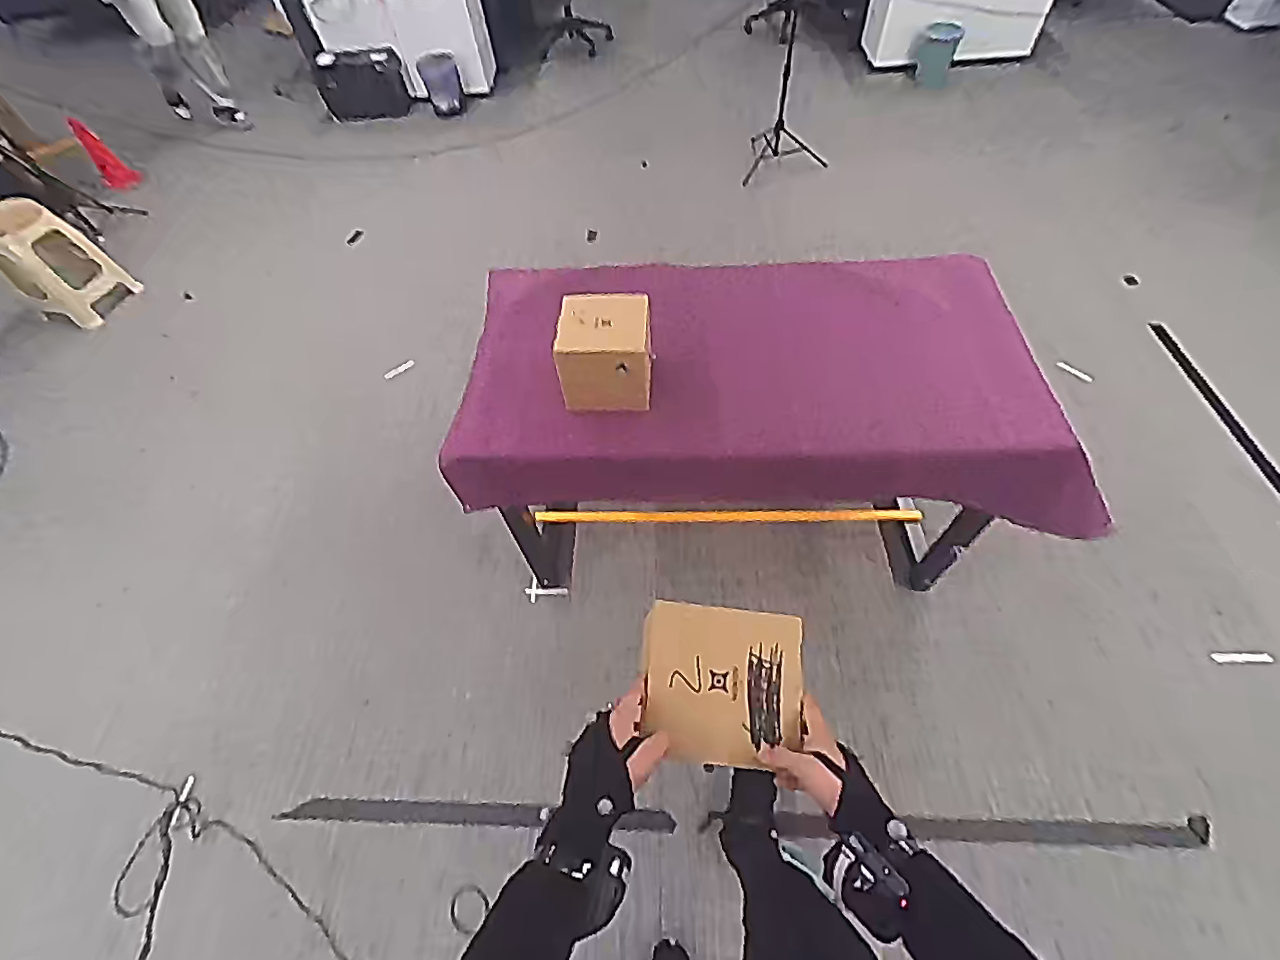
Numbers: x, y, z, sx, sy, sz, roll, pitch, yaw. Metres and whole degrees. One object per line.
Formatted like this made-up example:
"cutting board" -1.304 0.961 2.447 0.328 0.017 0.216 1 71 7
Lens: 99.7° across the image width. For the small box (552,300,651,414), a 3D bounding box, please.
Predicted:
"small box" -0.069 -0.249 1.113 0.179 0.176 0.168 1 55 5
